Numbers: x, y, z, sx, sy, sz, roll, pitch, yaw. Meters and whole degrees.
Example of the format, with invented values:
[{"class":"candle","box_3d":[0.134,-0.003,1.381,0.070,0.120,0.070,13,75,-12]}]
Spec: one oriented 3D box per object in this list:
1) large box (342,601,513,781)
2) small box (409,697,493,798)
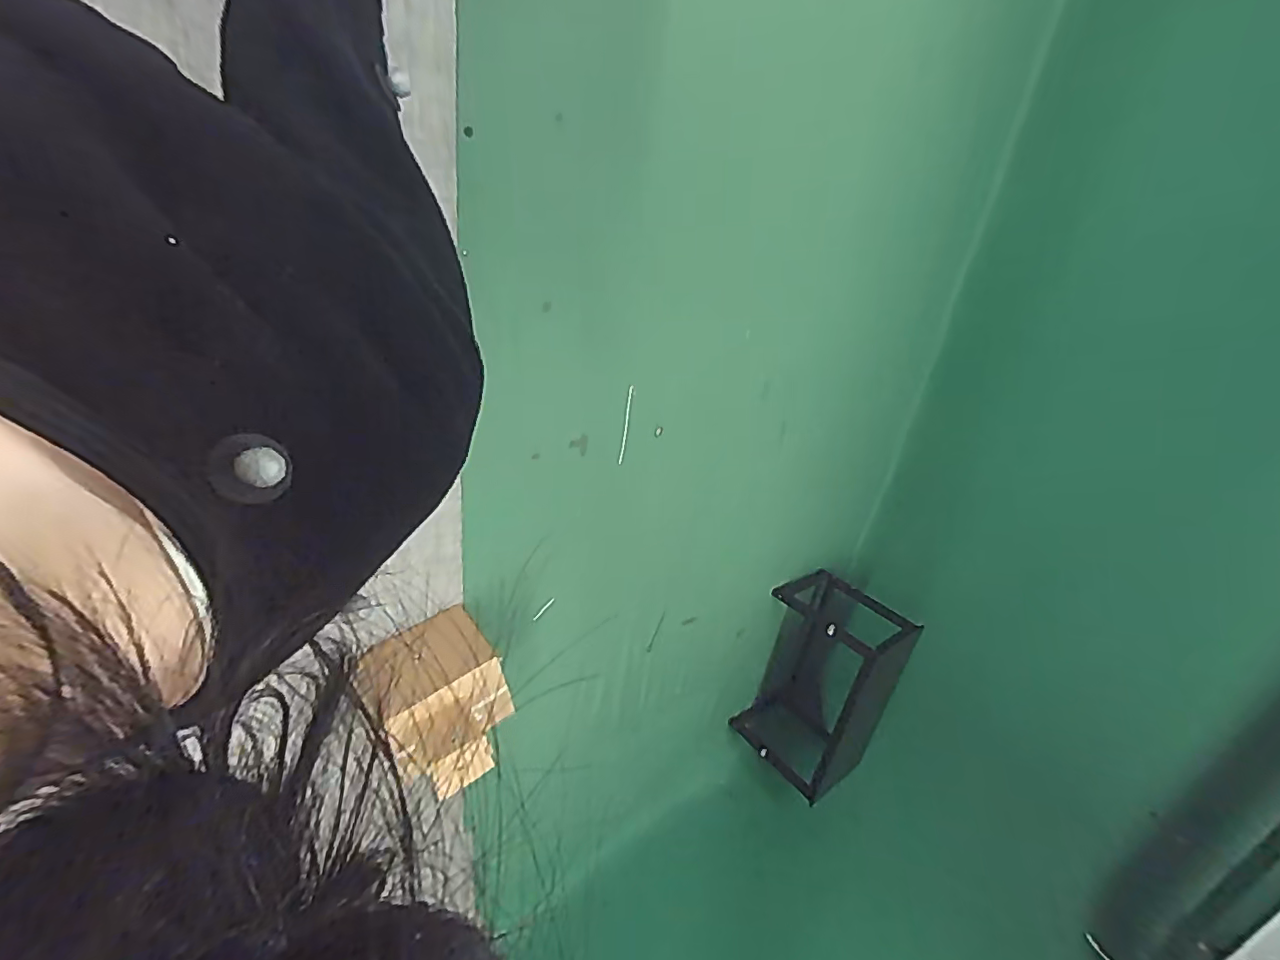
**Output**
[{"class":"large box","box_3d":[-0.698,0.685,1.807,0.408,0.320,0.320,-27,131,-30]},{"class":"small box","box_3d":[-0.568,0.795,1.628,0.179,0.176,0.168,-23,126,-31]}]
